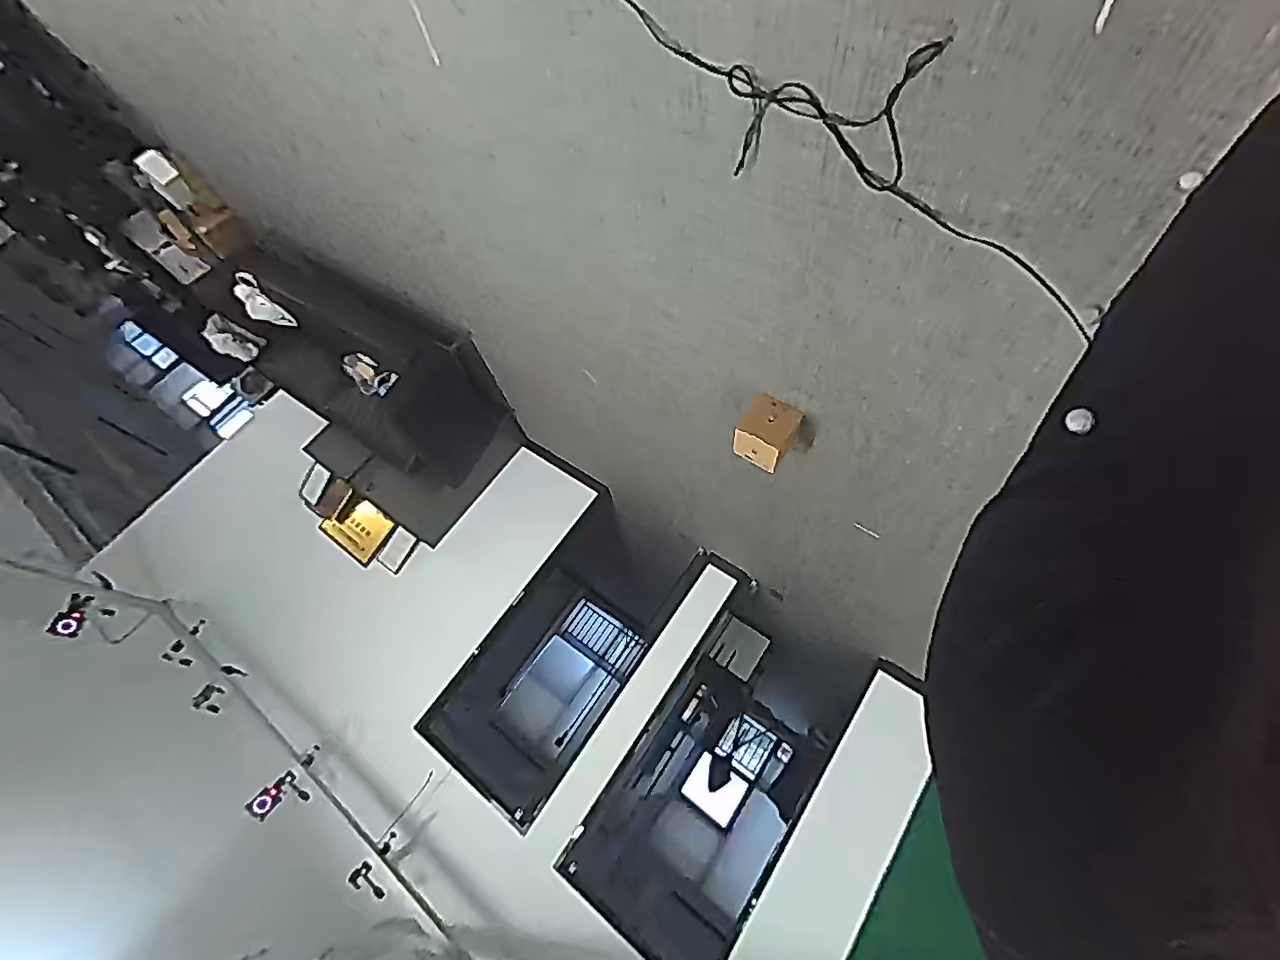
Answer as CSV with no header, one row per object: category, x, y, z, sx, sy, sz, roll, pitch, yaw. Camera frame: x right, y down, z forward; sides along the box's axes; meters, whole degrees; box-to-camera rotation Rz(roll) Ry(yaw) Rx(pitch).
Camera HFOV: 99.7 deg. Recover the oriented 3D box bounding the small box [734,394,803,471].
small box,0.447,-0.168,1.879,0.168,0.176,0.179,32,161,19
